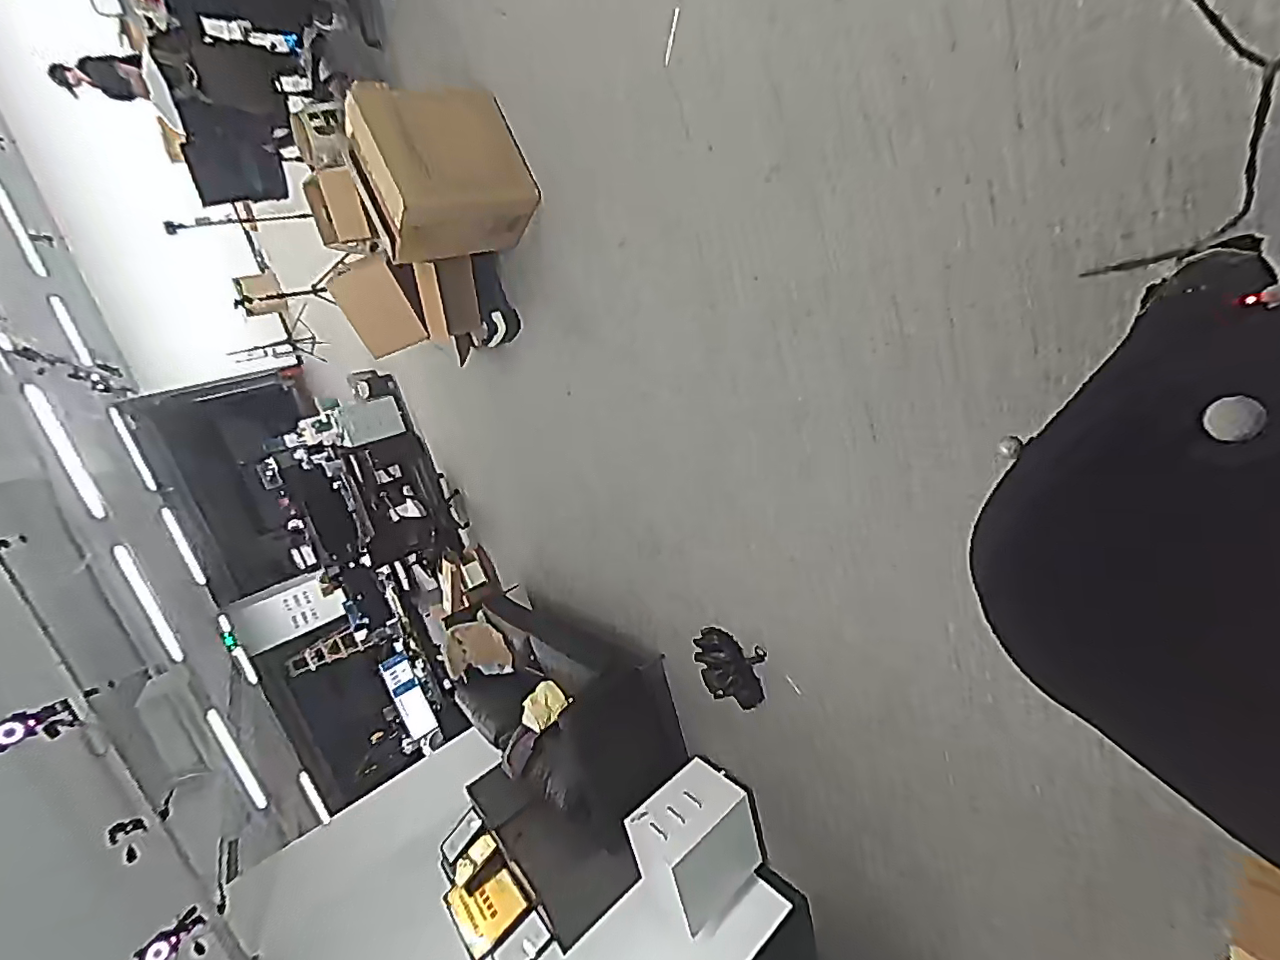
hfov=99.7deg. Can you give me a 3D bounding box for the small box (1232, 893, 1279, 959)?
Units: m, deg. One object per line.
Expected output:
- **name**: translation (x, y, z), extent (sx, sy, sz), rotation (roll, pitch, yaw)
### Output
- **small box**: translation (1.281, 0.951, 1.039), extent (0.179, 0.176, 0.168), rotation (8, 118, 53)
